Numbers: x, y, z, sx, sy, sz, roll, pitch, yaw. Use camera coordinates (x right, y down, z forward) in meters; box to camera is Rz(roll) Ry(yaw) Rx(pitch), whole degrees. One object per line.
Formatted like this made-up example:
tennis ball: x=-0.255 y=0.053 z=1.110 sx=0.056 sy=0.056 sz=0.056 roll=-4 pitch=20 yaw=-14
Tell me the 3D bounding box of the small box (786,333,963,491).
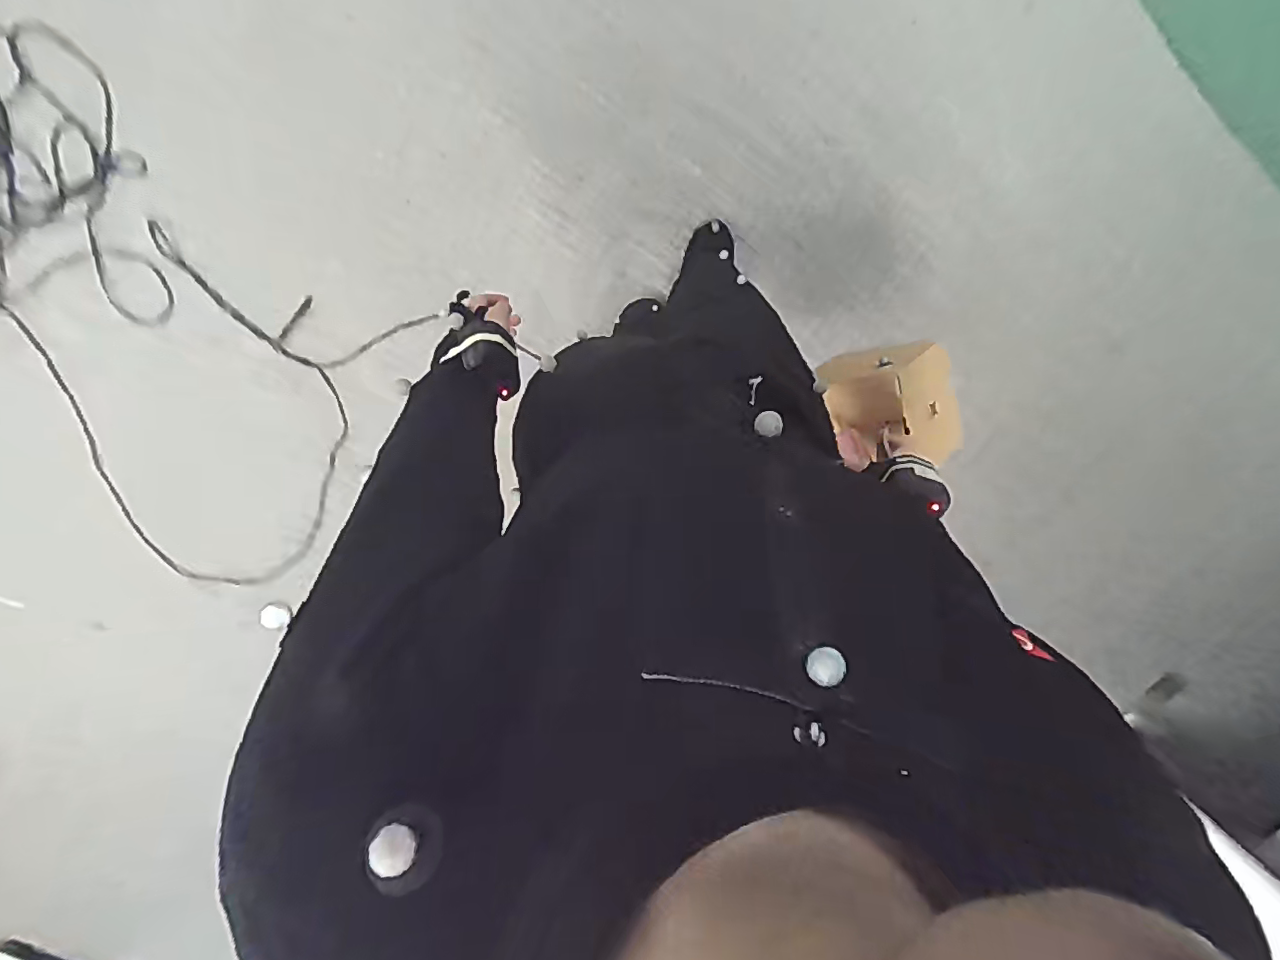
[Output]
small box: x=0.339 y=-0.098 z=0.782 sx=0.179 sy=0.176 sz=0.168 roll=-33 pitch=112 yaw=-35
